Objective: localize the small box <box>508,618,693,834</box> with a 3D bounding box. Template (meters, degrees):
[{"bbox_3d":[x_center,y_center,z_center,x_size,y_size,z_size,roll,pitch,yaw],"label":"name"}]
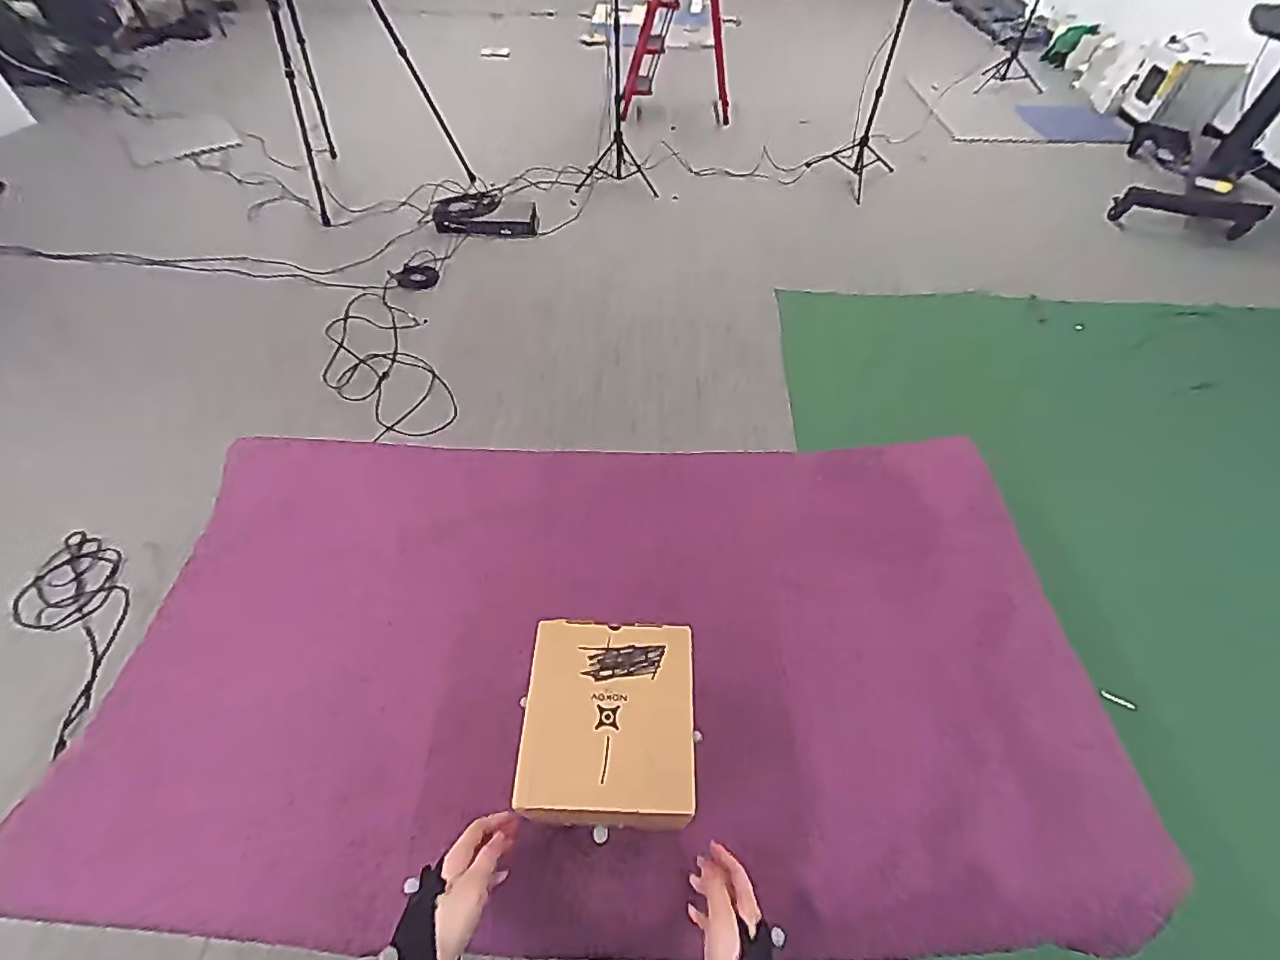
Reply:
[{"bbox_3d":[-0.033,0.267,0.583,0.168,0.176,0.179,2,53,1],"label":"small box"}]
